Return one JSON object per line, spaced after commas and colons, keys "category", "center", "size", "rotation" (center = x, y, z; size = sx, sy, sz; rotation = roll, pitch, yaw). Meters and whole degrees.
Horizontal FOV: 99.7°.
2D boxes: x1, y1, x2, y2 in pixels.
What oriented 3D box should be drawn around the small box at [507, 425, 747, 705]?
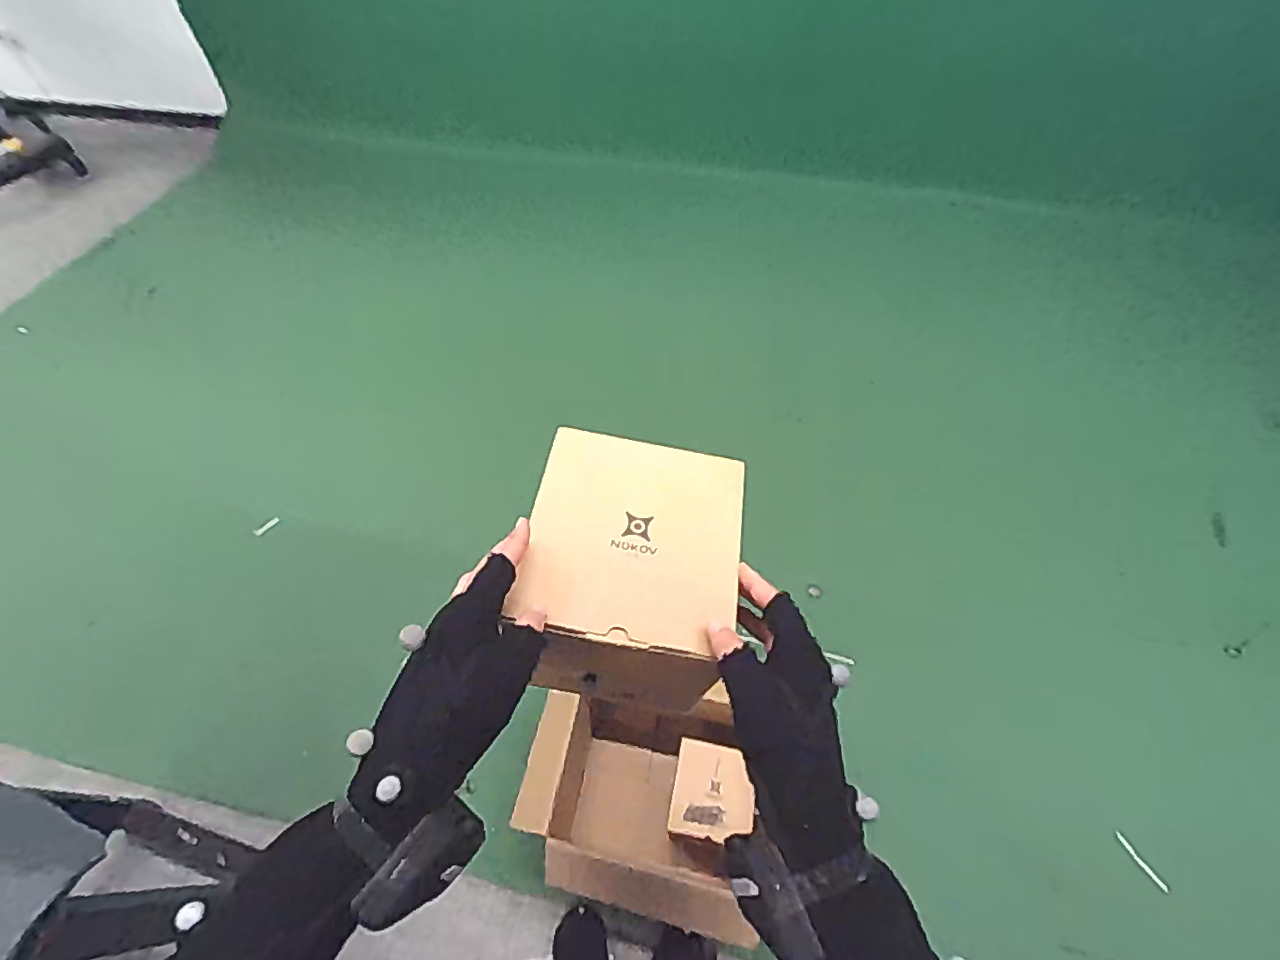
{"category": "small box", "center": [-0.010, 0.082, 0.482], "size": [0.168, 0.176, 0.179], "rotation": [11, 57, -1]}
